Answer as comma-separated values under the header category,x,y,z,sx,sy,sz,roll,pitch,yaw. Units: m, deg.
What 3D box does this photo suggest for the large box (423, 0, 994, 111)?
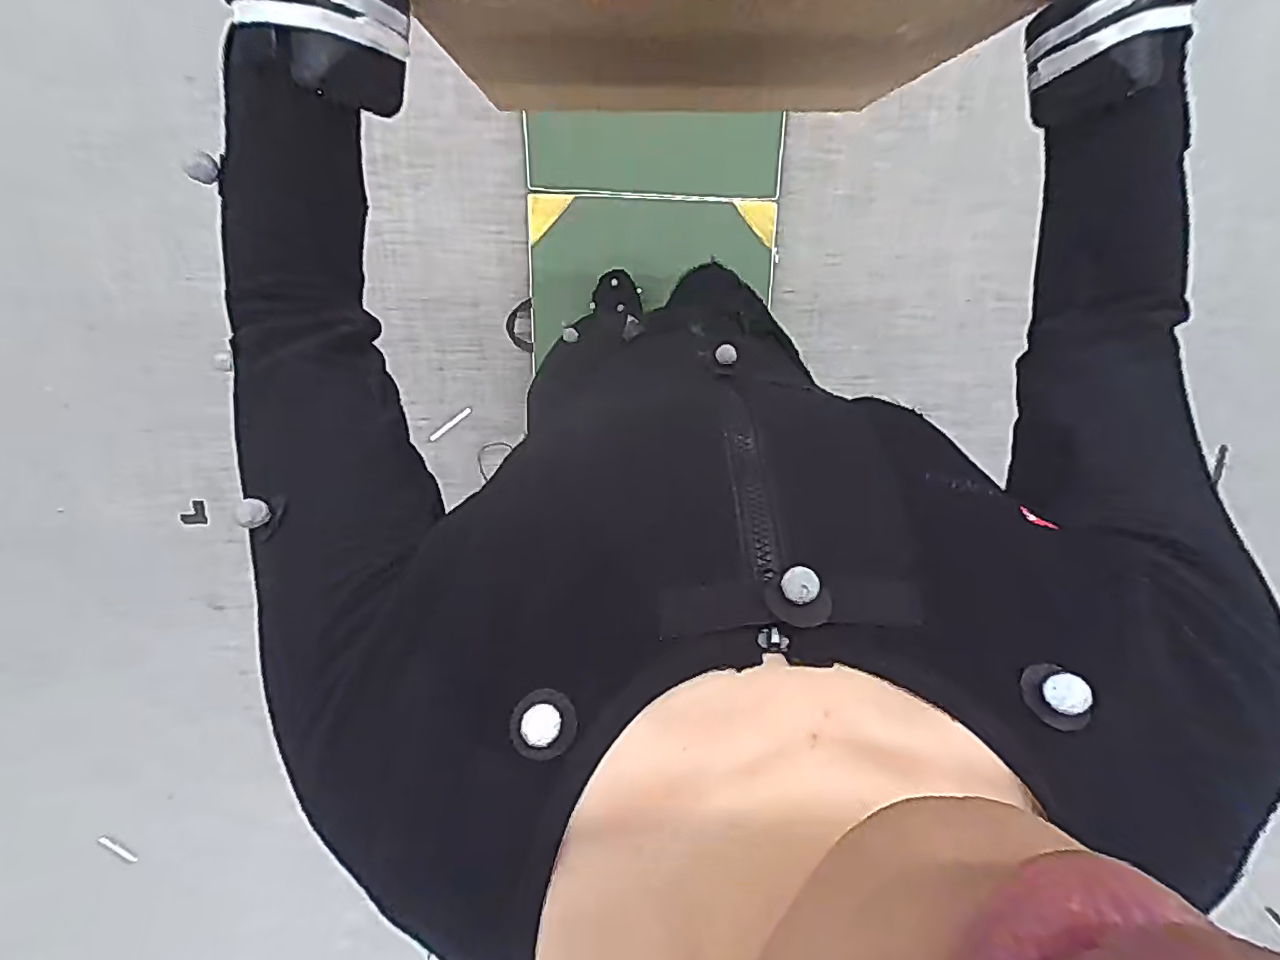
category,x,y,z,sx,sy,sz,roll,pitch,yaw
large box,0.043,-0.499,0.404,0.408,0.320,0.320,-2,114,-2
